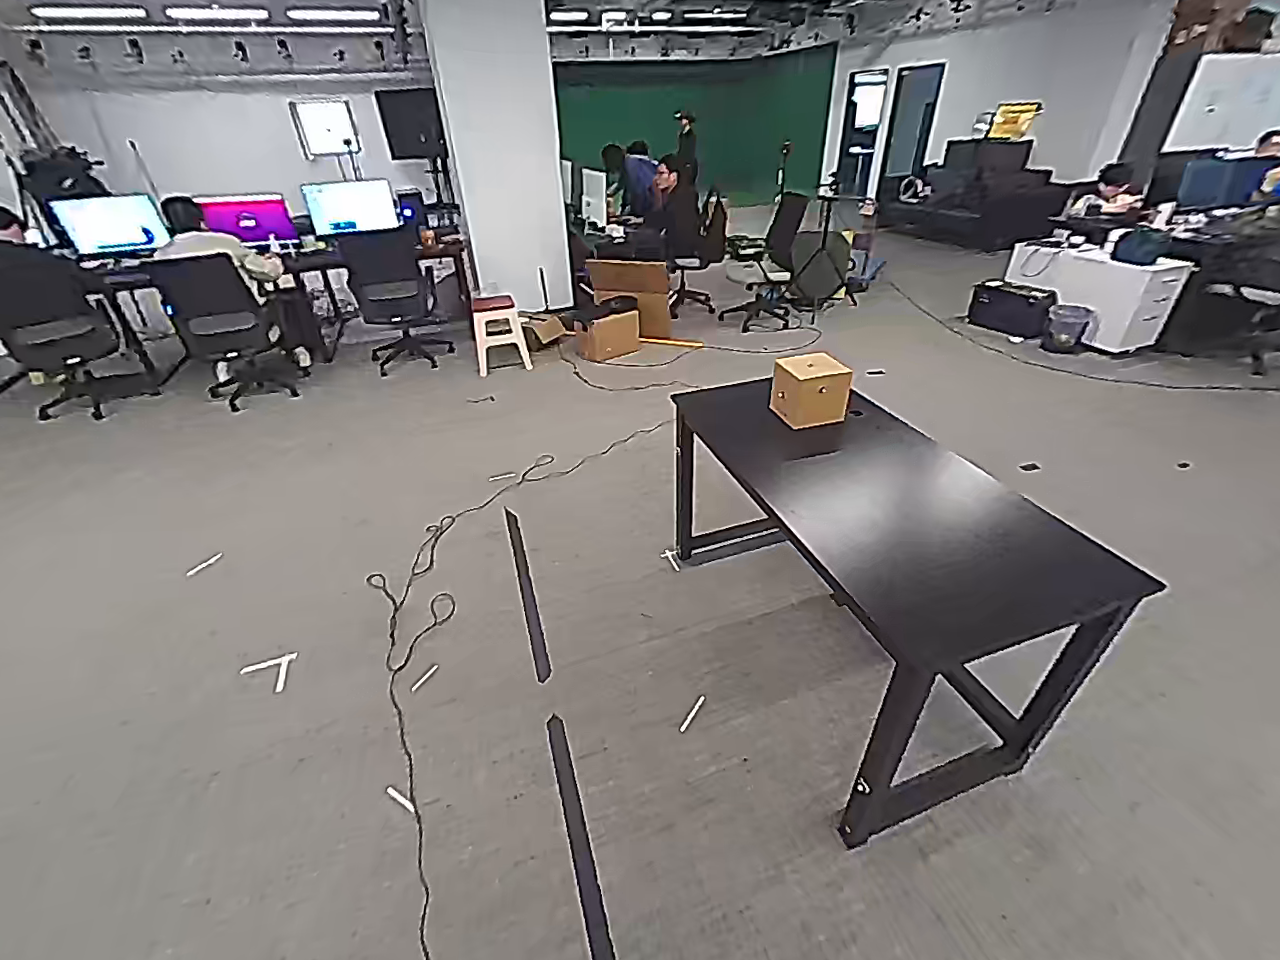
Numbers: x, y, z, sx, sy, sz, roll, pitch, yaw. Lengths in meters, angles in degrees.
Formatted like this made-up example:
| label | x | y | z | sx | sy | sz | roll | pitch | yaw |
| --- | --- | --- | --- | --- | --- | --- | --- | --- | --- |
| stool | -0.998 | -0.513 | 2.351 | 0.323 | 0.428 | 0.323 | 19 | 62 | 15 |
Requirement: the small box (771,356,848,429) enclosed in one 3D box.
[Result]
| label | x | y | z | sx | sy | sz | roll | pitch | yaw |
| --- | --- | --- | --- | --- | --- | --- | --- | --- | --- |
| small box | 0.524 | -0.272 | 1.698 | 0.179 | 0.176 | 0.168 | -11 | 35 | -12 |
